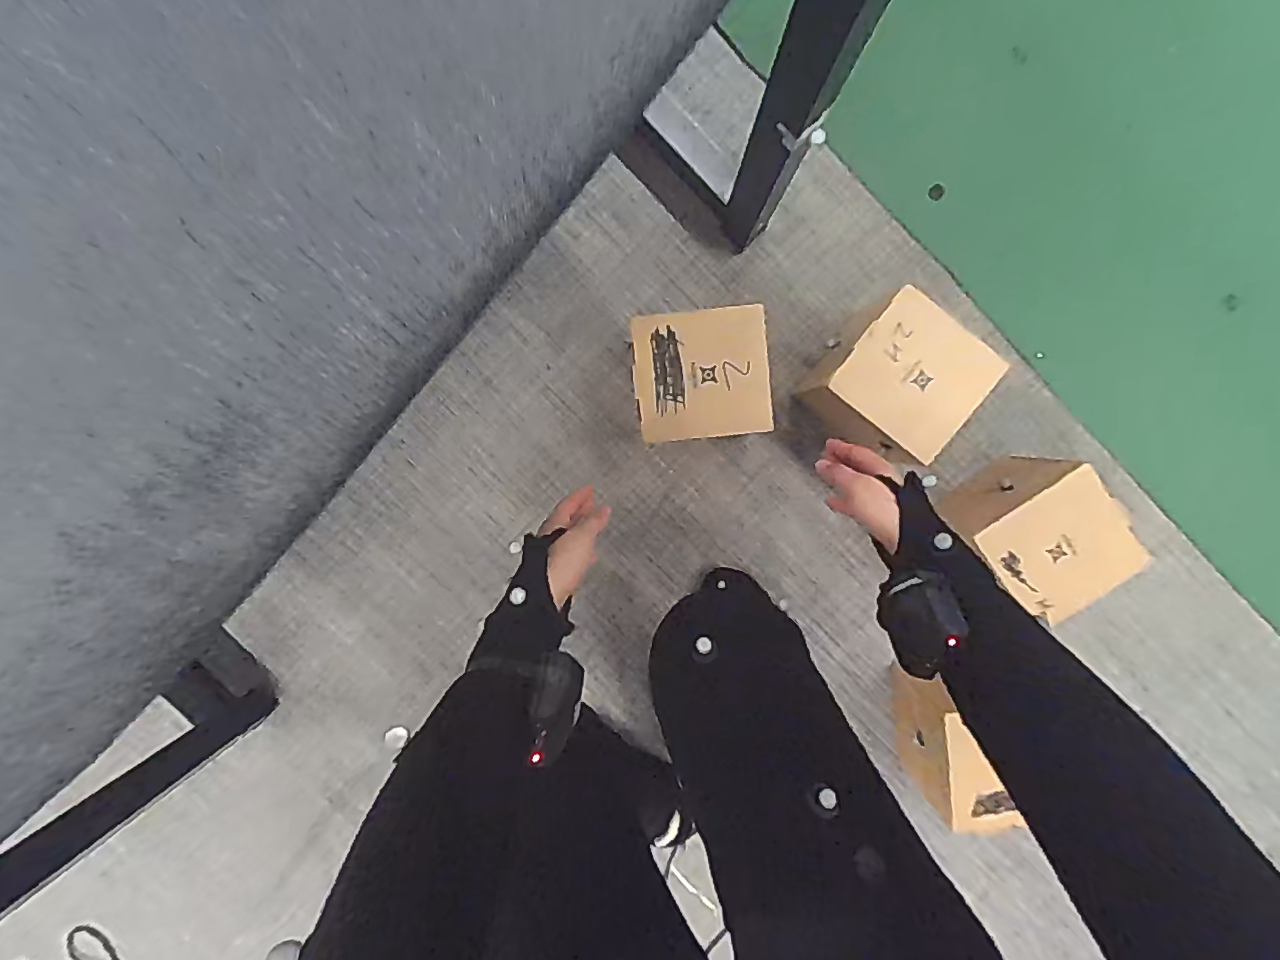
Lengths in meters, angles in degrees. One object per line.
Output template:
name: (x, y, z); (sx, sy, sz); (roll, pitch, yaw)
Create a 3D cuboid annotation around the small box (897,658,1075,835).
small box: (0.506, 0.389, 0.811); (0.168, 0.176, 0.179); (-6, 94, 2)

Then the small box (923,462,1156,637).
small box: (0.557, 0.086, 0.780); (0.179, 0.176, 0.168); (-35, 94, 5)

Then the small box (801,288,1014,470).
small box: (0.361, -0.136, 0.766); (0.179, 0.176, 0.168); (38, 95, -2)
